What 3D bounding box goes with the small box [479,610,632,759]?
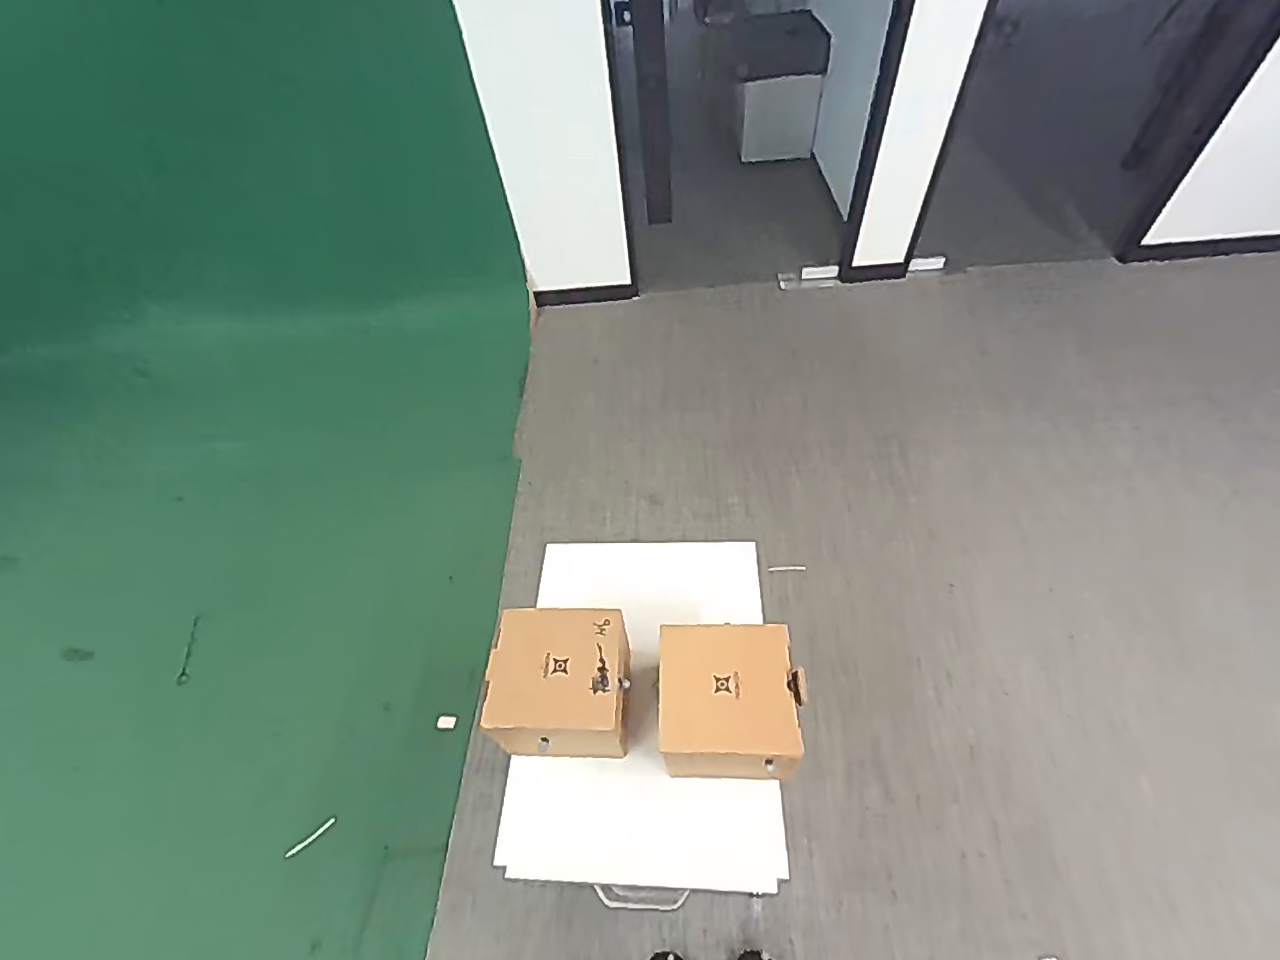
[{"bbox_3d":[-0.110,0.302,0.791,0.179,0.176,0.168,-1,53,4],"label":"small box"}]
